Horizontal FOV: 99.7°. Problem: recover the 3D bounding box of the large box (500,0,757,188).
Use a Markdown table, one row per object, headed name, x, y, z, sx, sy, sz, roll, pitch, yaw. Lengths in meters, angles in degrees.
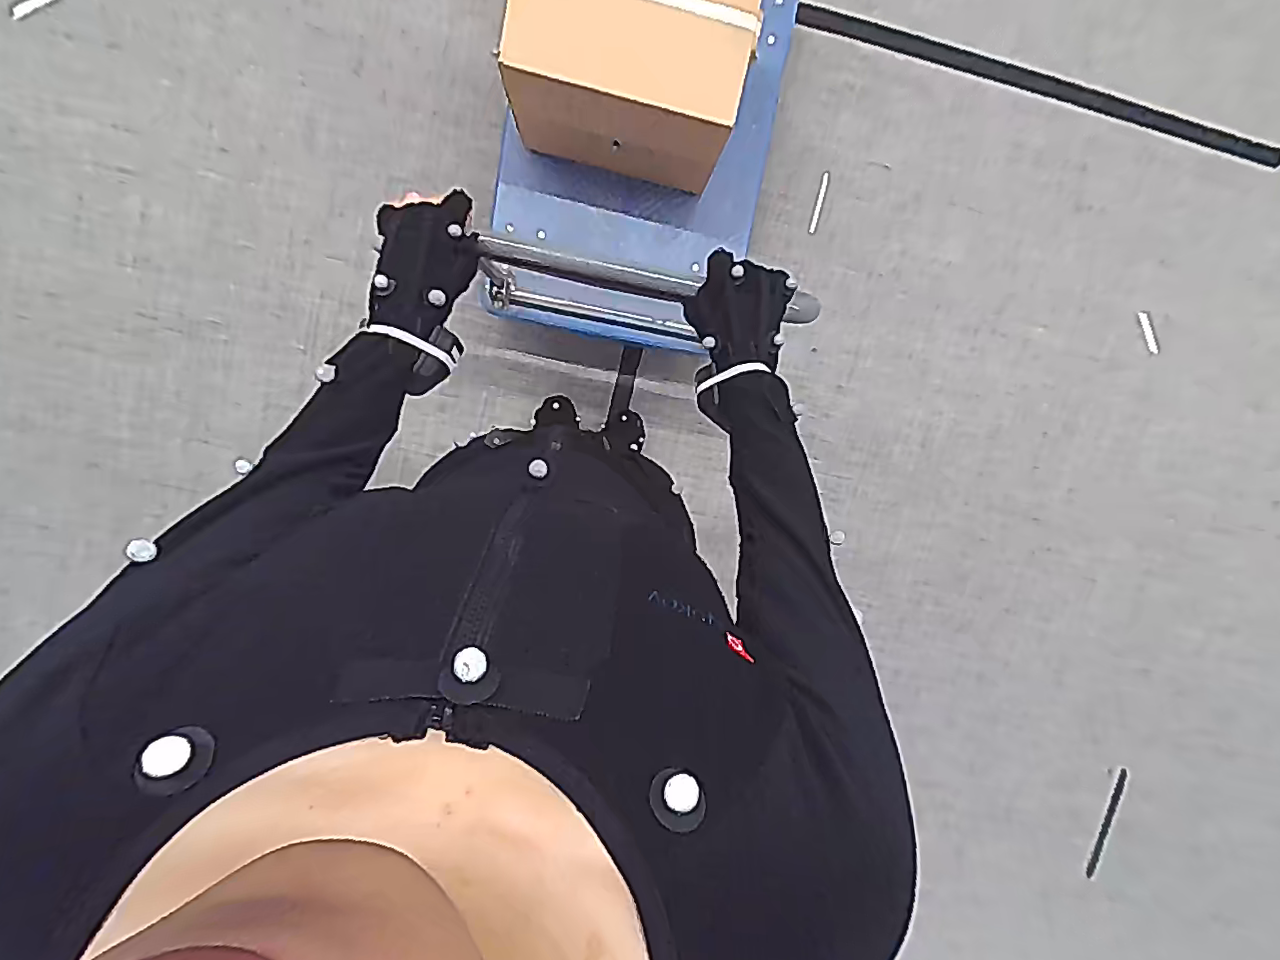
| name | x | y | z | sx | sy | sz | roll | pitch | yaw |
| --- | --- | --- | --- | --- | --- | --- | --- | --- | --- |
| large box | -0.014 | -0.814 | 1.037 | 0.408 | 0.320 | 0.320 | 12 | 98 | -5 |
